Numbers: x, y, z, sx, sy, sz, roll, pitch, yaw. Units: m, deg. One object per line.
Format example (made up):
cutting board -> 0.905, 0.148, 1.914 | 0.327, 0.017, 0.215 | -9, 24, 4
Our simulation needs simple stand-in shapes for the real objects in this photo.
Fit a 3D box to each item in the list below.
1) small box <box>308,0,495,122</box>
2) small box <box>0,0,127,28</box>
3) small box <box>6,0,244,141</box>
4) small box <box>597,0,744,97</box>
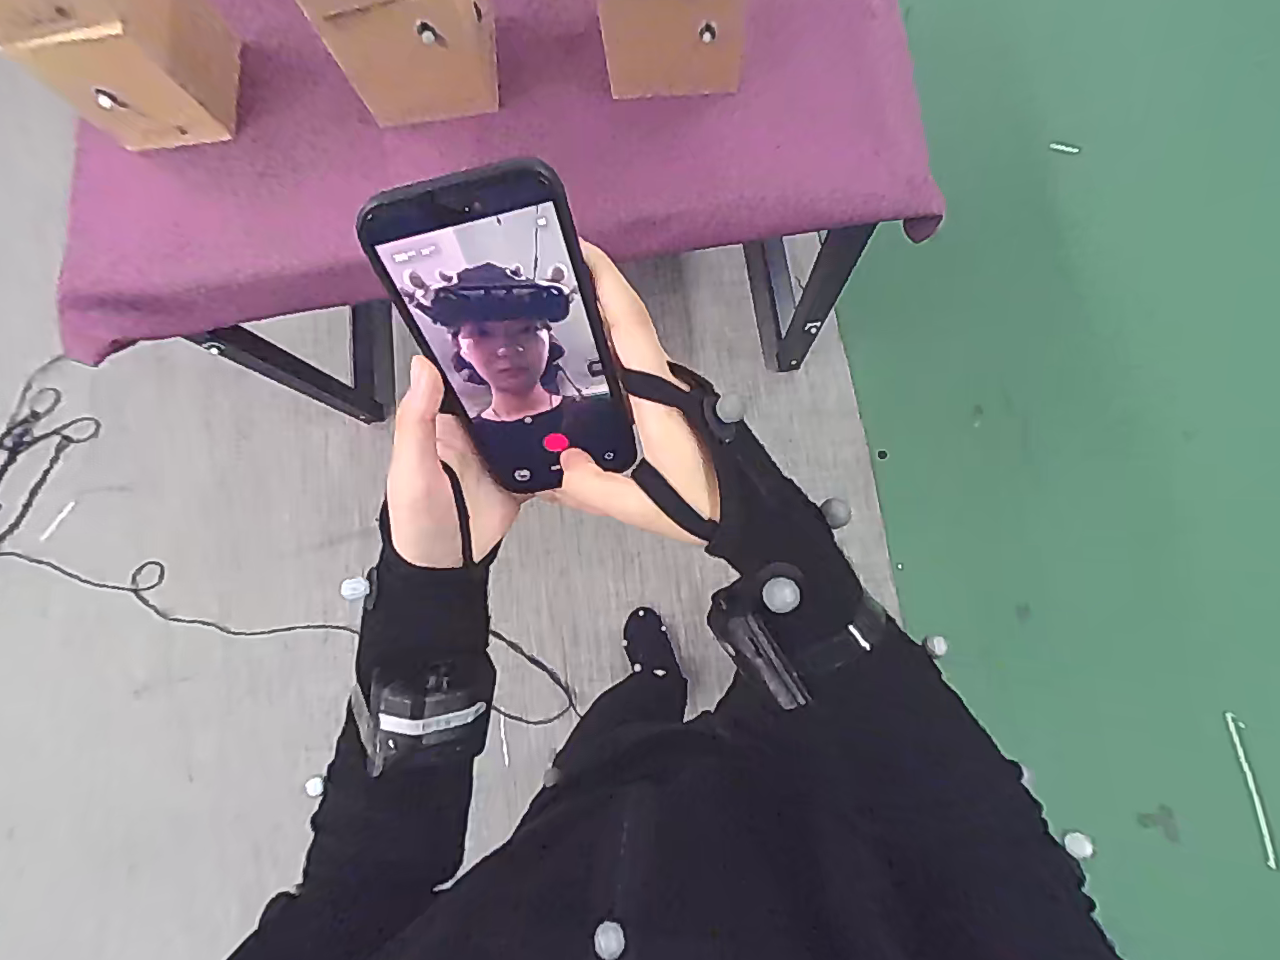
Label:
small box -> -0.297, -0.613, 0.711 | 0.179, 0.176, 0.168 | -5, 80, 4
small box -> -0.701, -0.636, 0.583 | 0.168, 0.176, 0.179 | -9, 80, 2
small box -> -0.687, -0.600, 0.742 | 0.168, 0.176, 0.179 | -4, 80, 4
small box -> 0.043, -0.628, 0.688 | 0.179, 0.176, 0.168 | 1, 80, 6
